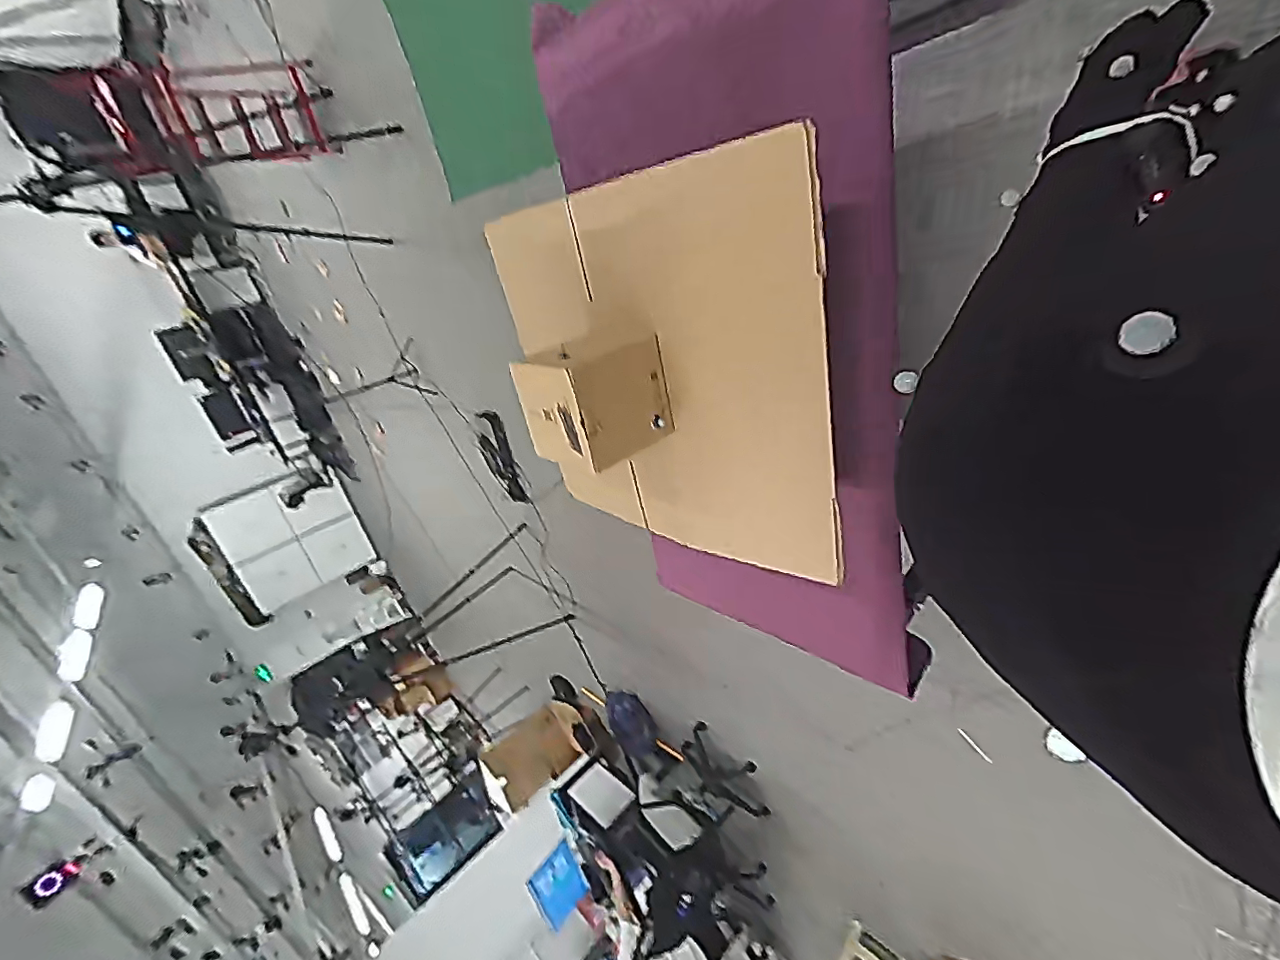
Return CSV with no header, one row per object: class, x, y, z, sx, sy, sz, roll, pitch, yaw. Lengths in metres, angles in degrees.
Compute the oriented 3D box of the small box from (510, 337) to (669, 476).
small box,-0.072,-0.124,0.865,0.179,0.176,0.168,12,125,47
